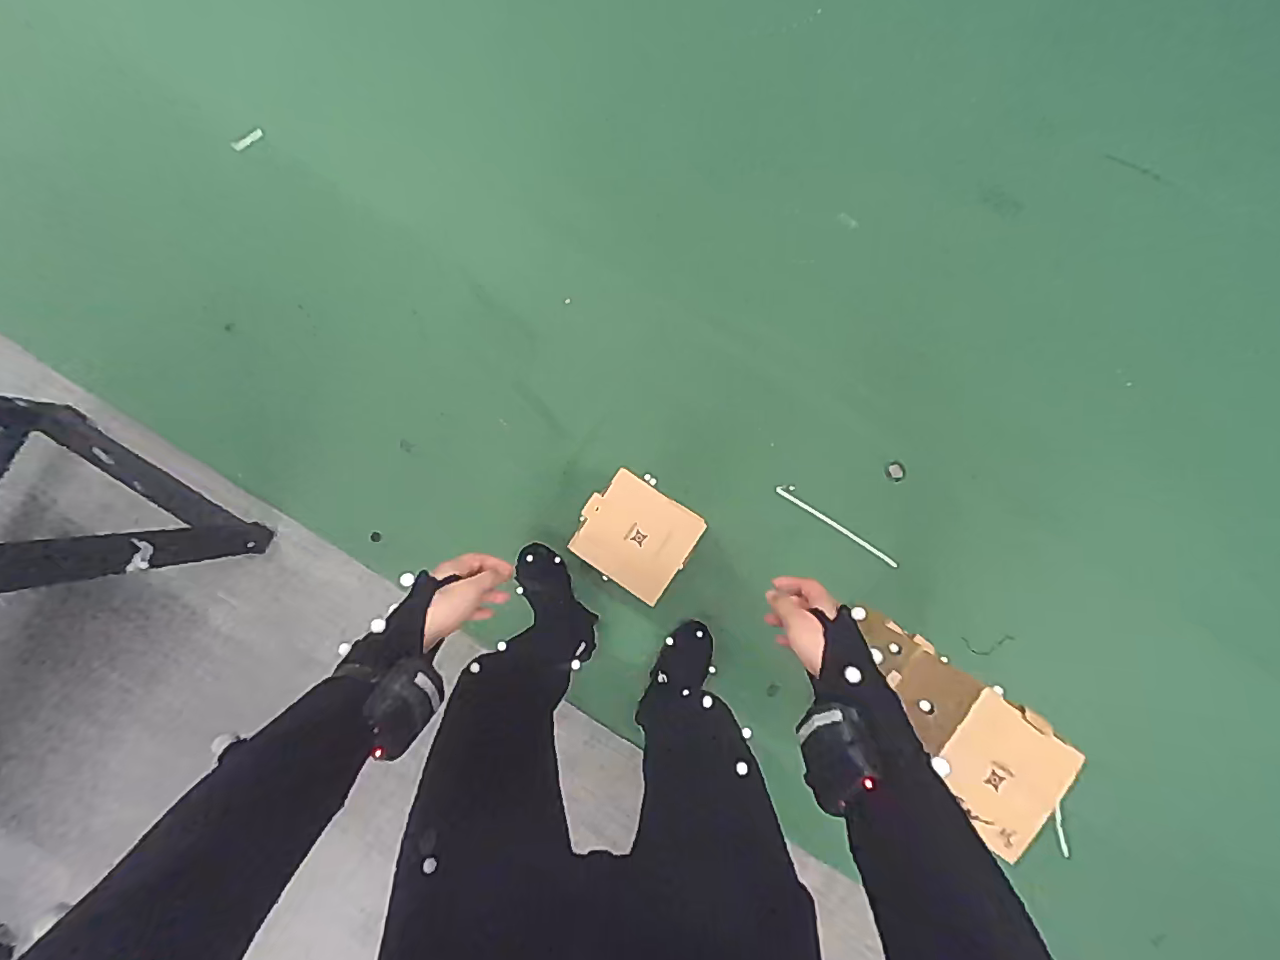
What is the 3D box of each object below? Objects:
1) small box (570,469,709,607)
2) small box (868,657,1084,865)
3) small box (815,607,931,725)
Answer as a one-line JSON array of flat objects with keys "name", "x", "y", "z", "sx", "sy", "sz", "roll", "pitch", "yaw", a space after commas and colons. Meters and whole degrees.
[{"name": "small box", "x": 0.000, "y": 0.098, "z": 0.967, "sx": 0.179, "sy": 0.176, "sz": 0.168, "roll": 34, "pitch": 91, "yaw": 1}, {"name": "small box", "x": 0.472, "y": 0.391, "z": 0.791, "sx": 0.168, "sy": 0.176, "sz": 0.179, "roll": 36, "pitch": 89, "yaw": -1}, {"name": "small box", "x": 0.487, "y": 0.392, "z": 1.121, "sx": 0.168, "sy": 0.176, "sz": 0.179, "roll": 40, "pitch": 90, "yaw": 1}]
